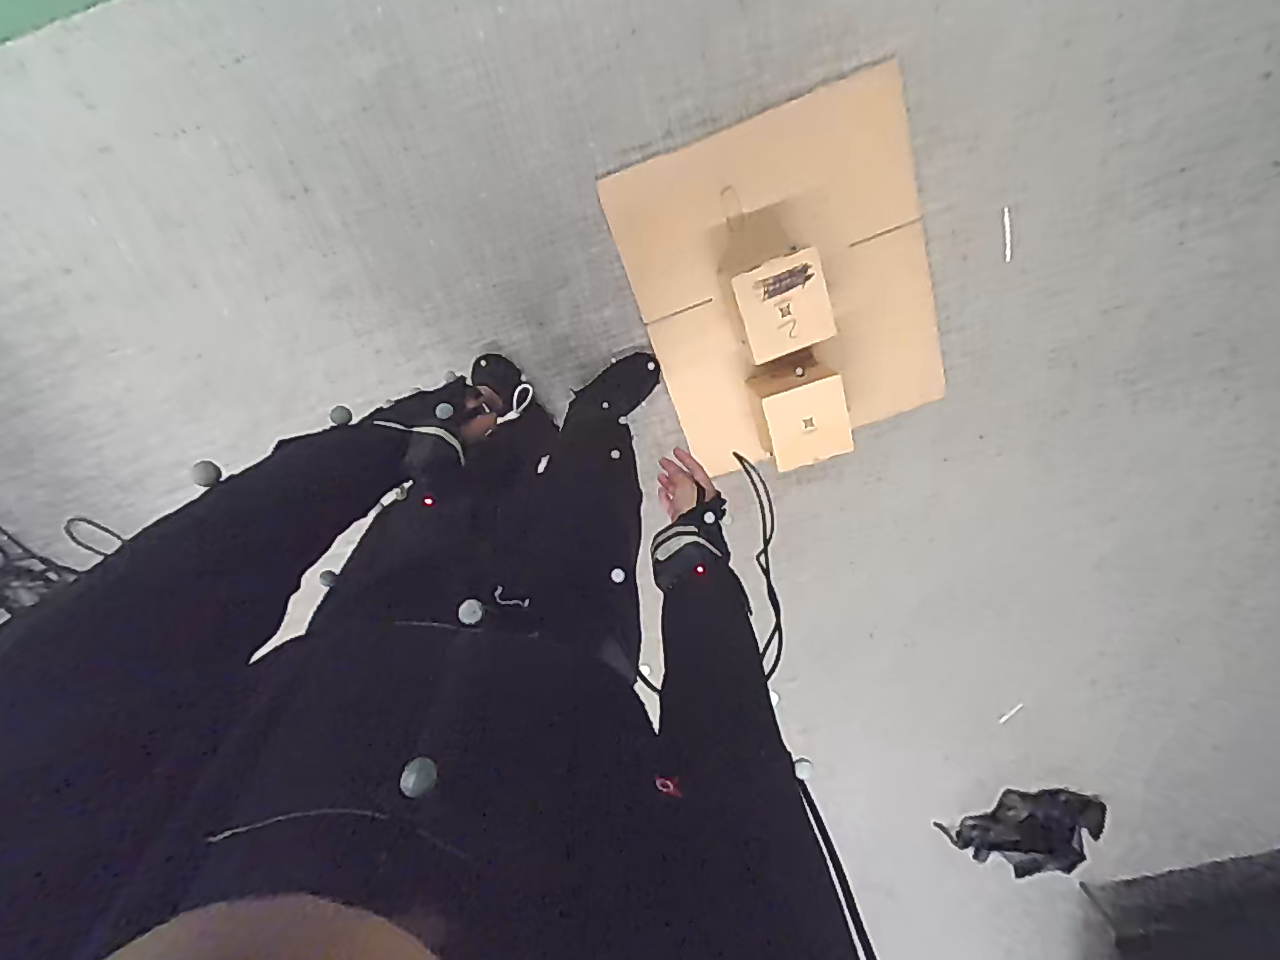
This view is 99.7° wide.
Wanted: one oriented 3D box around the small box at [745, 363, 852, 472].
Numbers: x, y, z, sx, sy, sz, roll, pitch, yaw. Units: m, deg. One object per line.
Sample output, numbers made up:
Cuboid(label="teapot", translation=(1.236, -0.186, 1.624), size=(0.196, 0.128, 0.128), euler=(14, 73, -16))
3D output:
Cuboid(label="small box", translation=(0.340, -0.146, 1.184), size=(0.168, 0.176, 0.179), euler=(-18, 113, 6))
